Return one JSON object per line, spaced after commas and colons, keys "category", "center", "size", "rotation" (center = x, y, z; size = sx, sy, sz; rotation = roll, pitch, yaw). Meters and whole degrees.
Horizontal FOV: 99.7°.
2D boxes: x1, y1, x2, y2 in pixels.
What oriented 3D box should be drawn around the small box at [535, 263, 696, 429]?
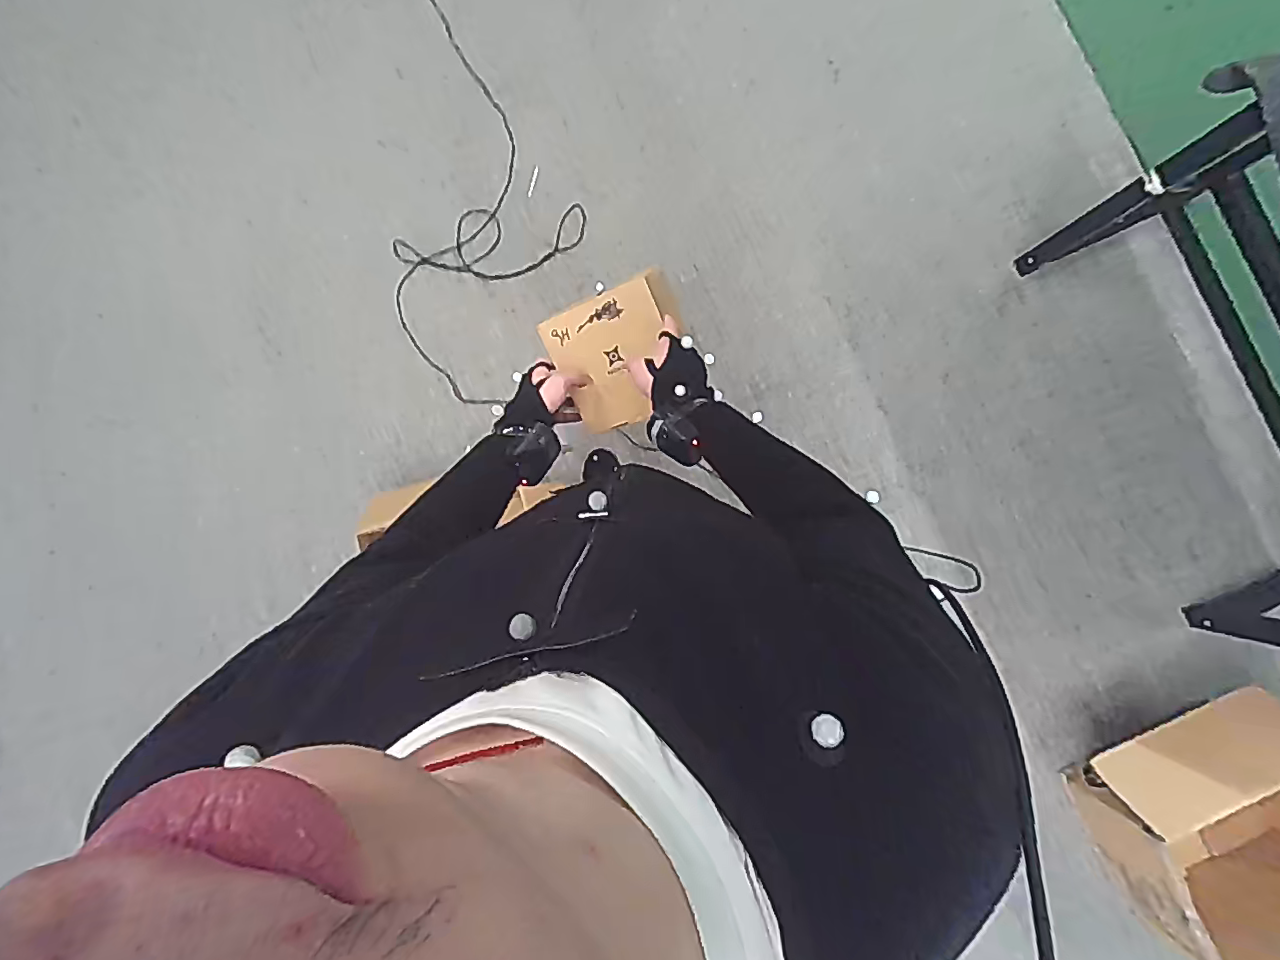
{"category": "small box", "center": [-0.024, -0.206, 0.818], "size": [0.168, 0.176, 0.179], "rotation": [-20, 110, 20]}
